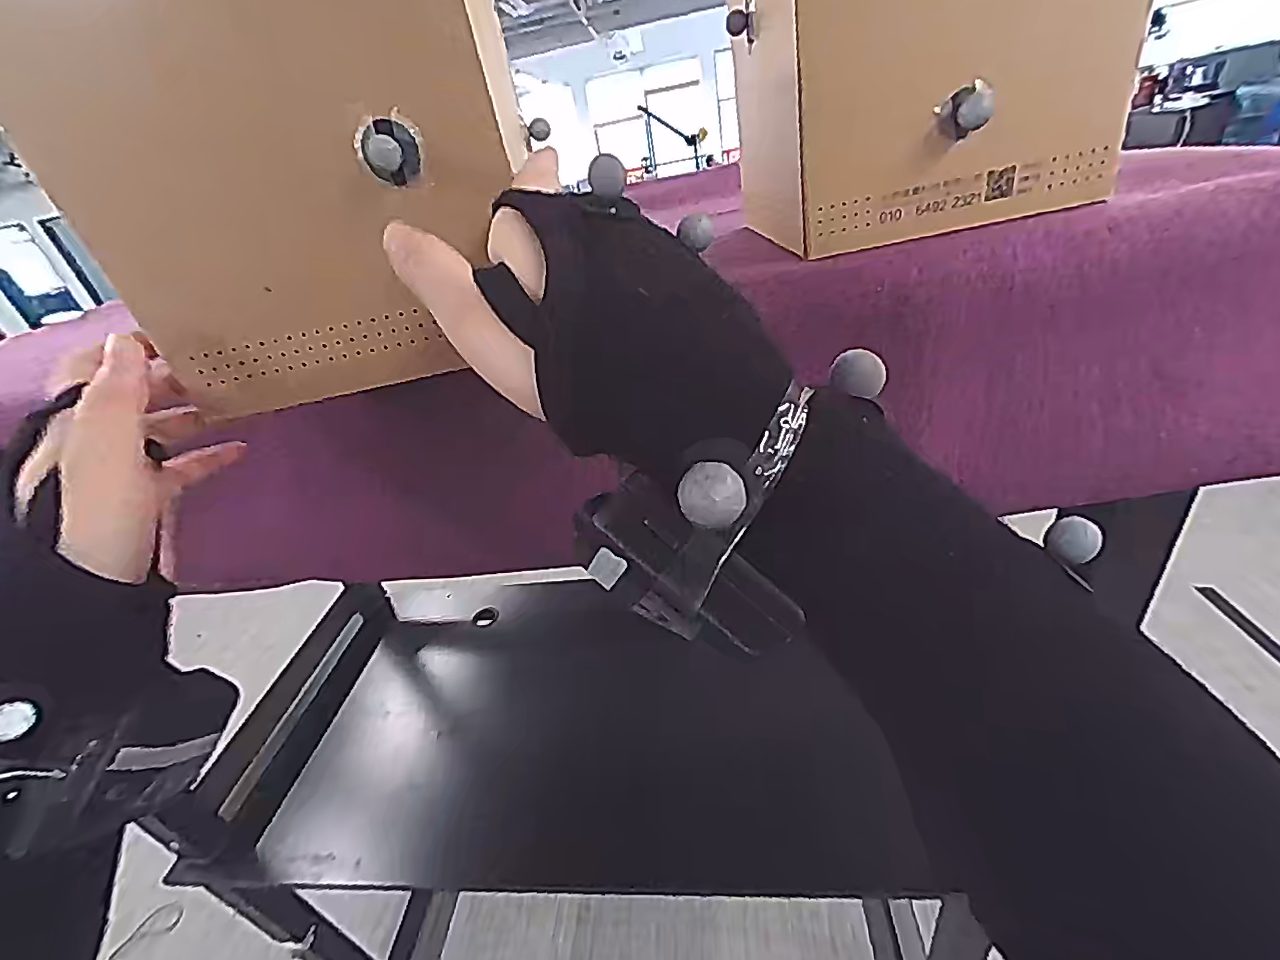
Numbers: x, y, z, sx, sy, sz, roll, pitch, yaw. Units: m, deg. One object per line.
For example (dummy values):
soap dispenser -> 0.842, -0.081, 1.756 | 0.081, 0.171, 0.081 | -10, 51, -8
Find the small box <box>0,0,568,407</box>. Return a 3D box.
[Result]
small box -> -0.138, -0.157, 0.279 | 0.179, 0.176, 0.168 | -12, 32, 0

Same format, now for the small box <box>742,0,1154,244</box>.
small box -> 0.160, -0.252, 0.330 | 0.168, 0.176, 0.179 | -10, 30, 4
